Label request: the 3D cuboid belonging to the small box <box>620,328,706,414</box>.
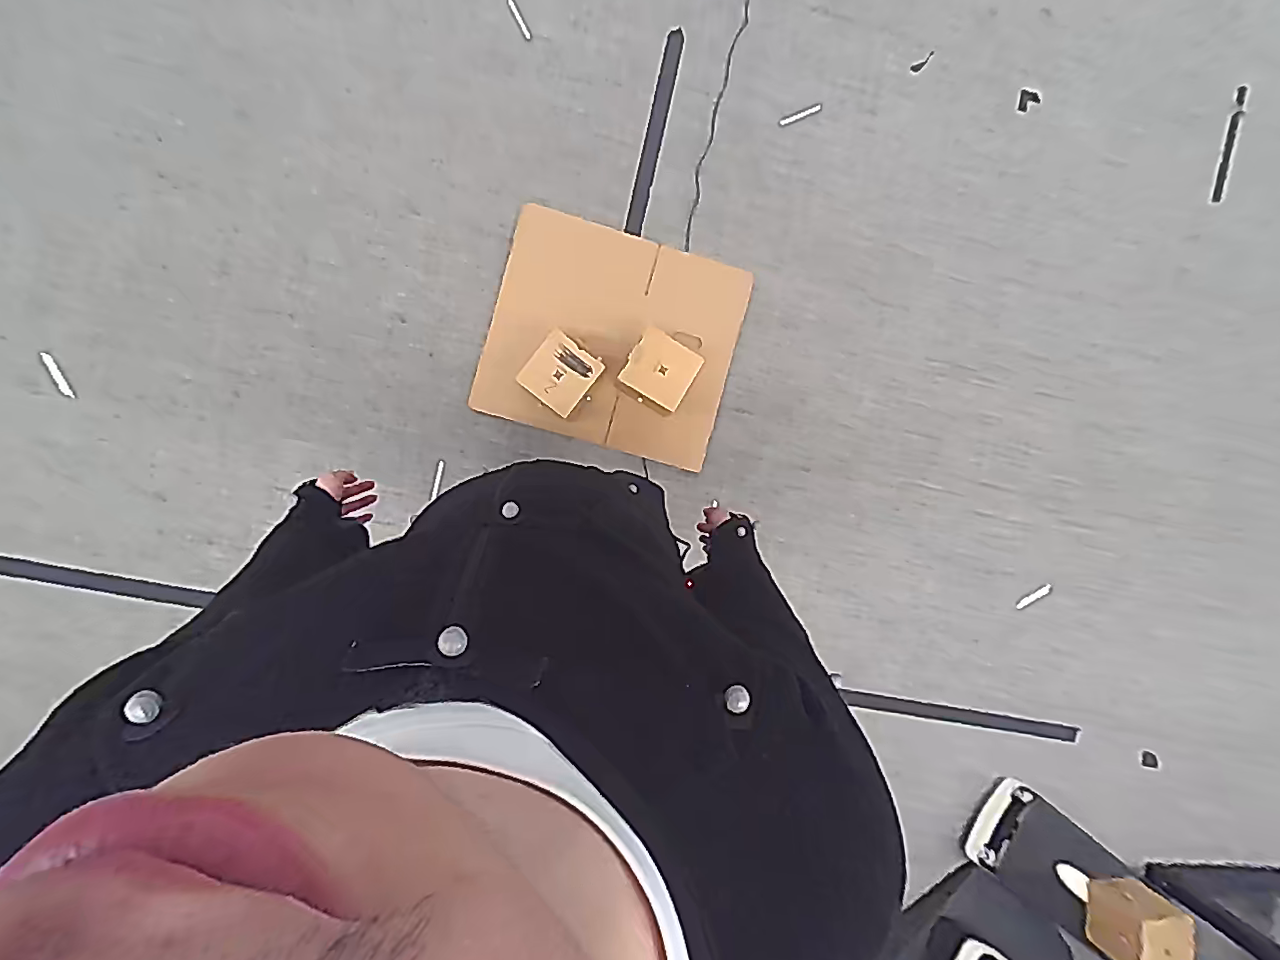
[{"bbox_3d":[0.059,-0.294,1.507,0.179,0.176,0.168,31,90,-3],"label":"small box"}]
